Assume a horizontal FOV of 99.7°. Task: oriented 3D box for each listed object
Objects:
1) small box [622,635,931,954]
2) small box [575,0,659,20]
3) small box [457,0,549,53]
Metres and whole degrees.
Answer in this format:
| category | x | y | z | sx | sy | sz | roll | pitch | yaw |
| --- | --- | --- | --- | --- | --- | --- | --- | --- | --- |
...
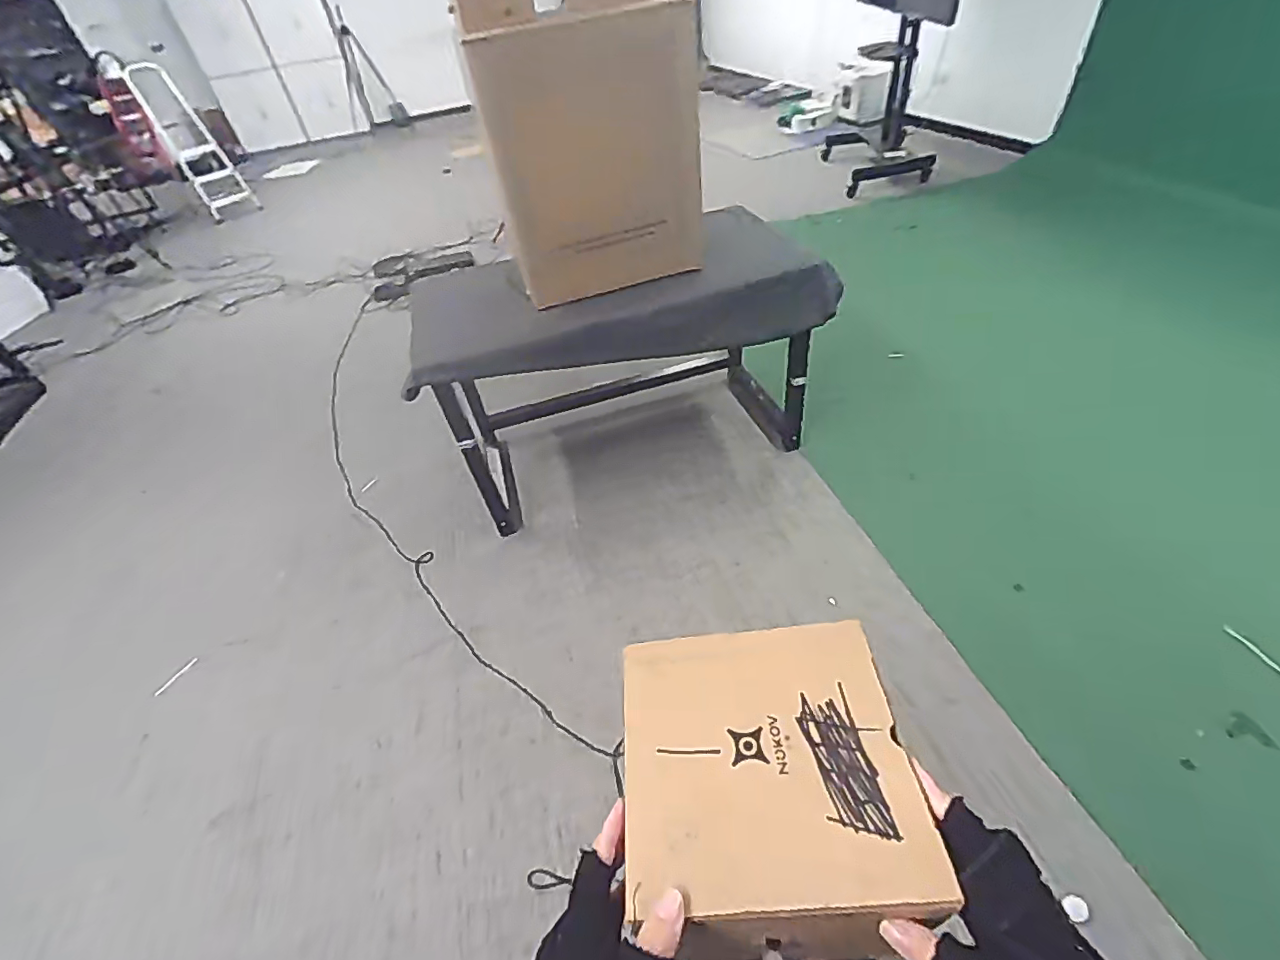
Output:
| category | x | y | z | sx | sy | sz | roll | pitch | yaw |
| --- | --- | --- | --- | --- | --- | --- | --- | --- | --- |
| small box | 0.084 | 0.240 | 0.414 | 0.179 | 0.176 | 0.168 | -6 | 41 | 4 |
| small box | -0.061 | -1.163 | 1.223 | 0.168 | 0.176 | 0.179 | -17 | 44 | -10 |
| small box | -0.316 | -1.076 | 1.203 | 0.168 | 0.176 | 0.179 | -21 | 46 | -9 |
